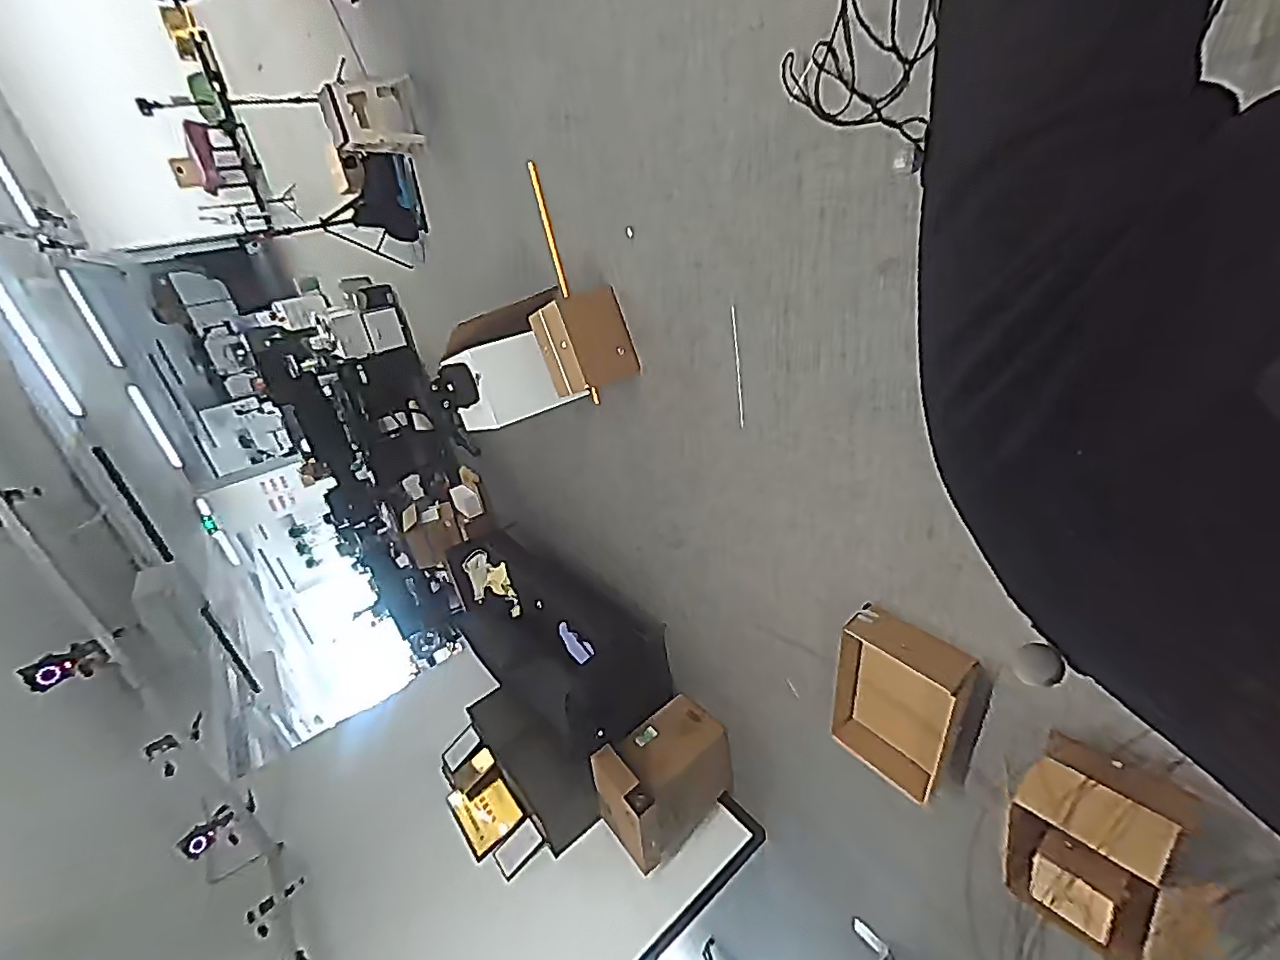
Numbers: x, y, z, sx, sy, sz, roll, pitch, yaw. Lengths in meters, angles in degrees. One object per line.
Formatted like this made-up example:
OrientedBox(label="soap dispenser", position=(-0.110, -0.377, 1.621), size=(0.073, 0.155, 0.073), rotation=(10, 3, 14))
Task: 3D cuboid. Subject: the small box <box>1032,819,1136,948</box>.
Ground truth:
OrientedBox(label="small box", position=(1.171, 1.052, 1.427), size=(0.168, 0.176, 0.179), rotation=(19, 126, 52))
